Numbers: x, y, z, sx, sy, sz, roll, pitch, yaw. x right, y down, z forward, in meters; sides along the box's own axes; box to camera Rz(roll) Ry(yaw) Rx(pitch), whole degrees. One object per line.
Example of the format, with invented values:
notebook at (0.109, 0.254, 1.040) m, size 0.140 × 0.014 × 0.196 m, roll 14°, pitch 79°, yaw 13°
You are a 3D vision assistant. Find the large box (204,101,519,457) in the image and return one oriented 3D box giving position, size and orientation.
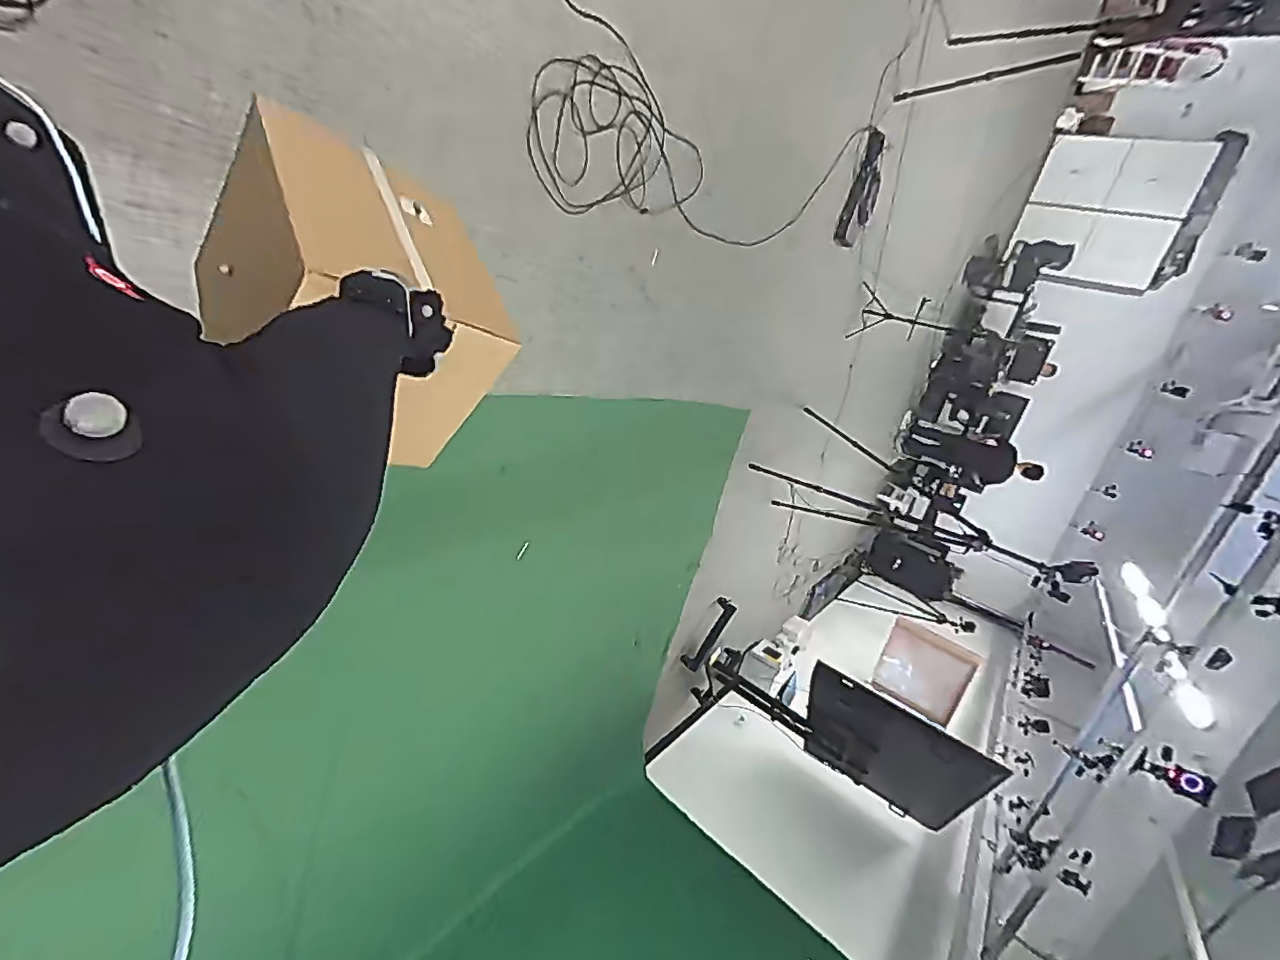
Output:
large box at (-0.465, -0.289, 0.882) m, size 0.320 × 0.408 × 0.320 m, roll -42°, pitch 152°, yaw 27°
